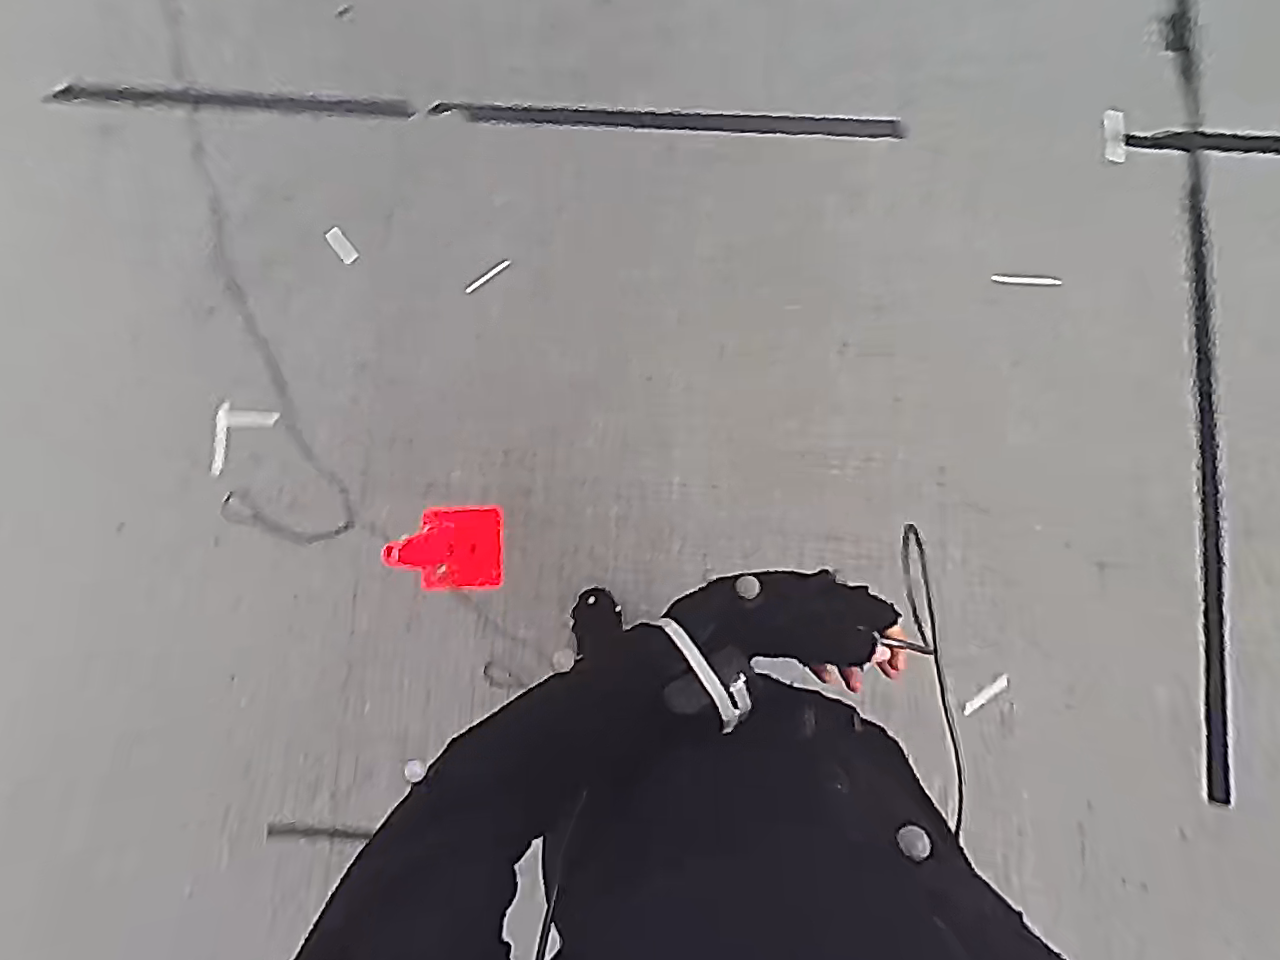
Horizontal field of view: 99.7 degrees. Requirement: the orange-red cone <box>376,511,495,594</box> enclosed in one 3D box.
[{"bbox_3d":[-0.453,0.162,1.144,0.199,0.360,0.198,-2,85,0],"label":"orange-red cone"}]
